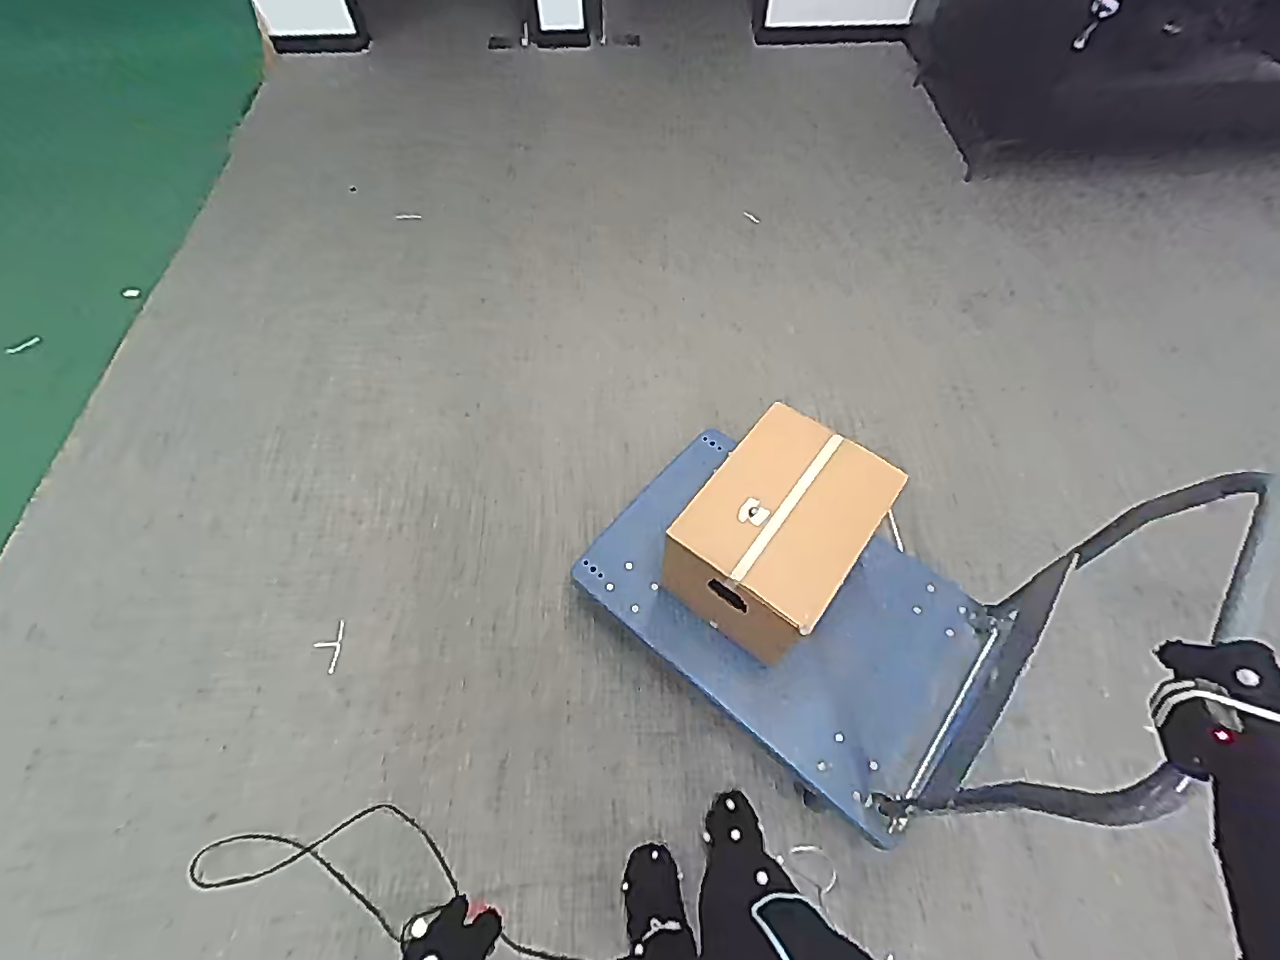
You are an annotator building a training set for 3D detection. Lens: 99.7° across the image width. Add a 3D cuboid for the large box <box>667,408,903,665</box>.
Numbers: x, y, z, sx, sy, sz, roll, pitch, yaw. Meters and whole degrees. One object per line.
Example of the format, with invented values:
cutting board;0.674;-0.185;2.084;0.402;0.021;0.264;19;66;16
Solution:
large box;0.299;0.128;1.192;0.320;0.320;0.408;33;66;19
